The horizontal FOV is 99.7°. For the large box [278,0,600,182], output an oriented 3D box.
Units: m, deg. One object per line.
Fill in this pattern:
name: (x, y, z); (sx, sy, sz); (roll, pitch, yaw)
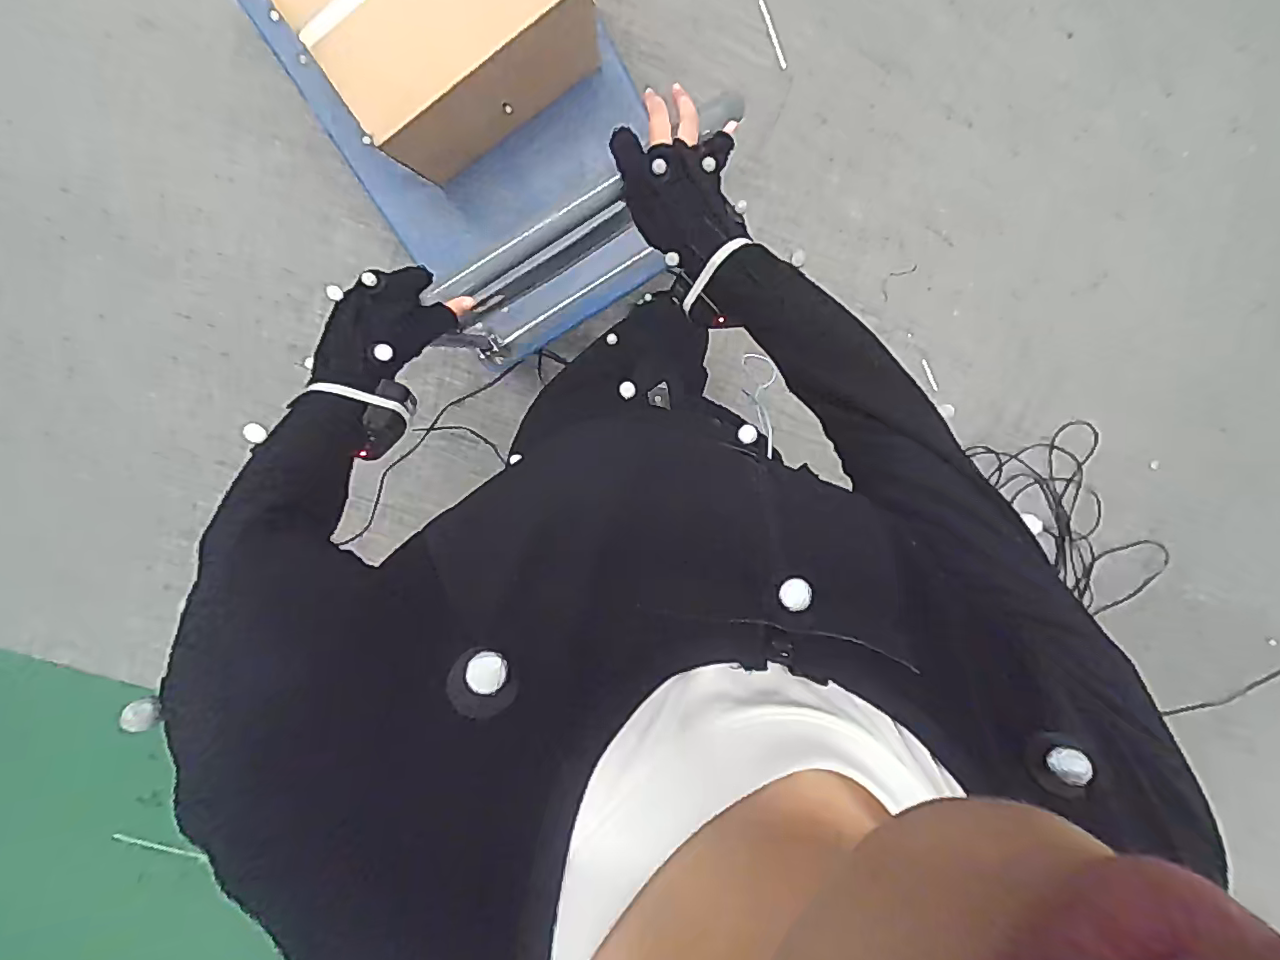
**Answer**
large box: (-0.319, -0.788, 0.910); (0.408, 0.320, 0.320); (-32, 105, 10)
